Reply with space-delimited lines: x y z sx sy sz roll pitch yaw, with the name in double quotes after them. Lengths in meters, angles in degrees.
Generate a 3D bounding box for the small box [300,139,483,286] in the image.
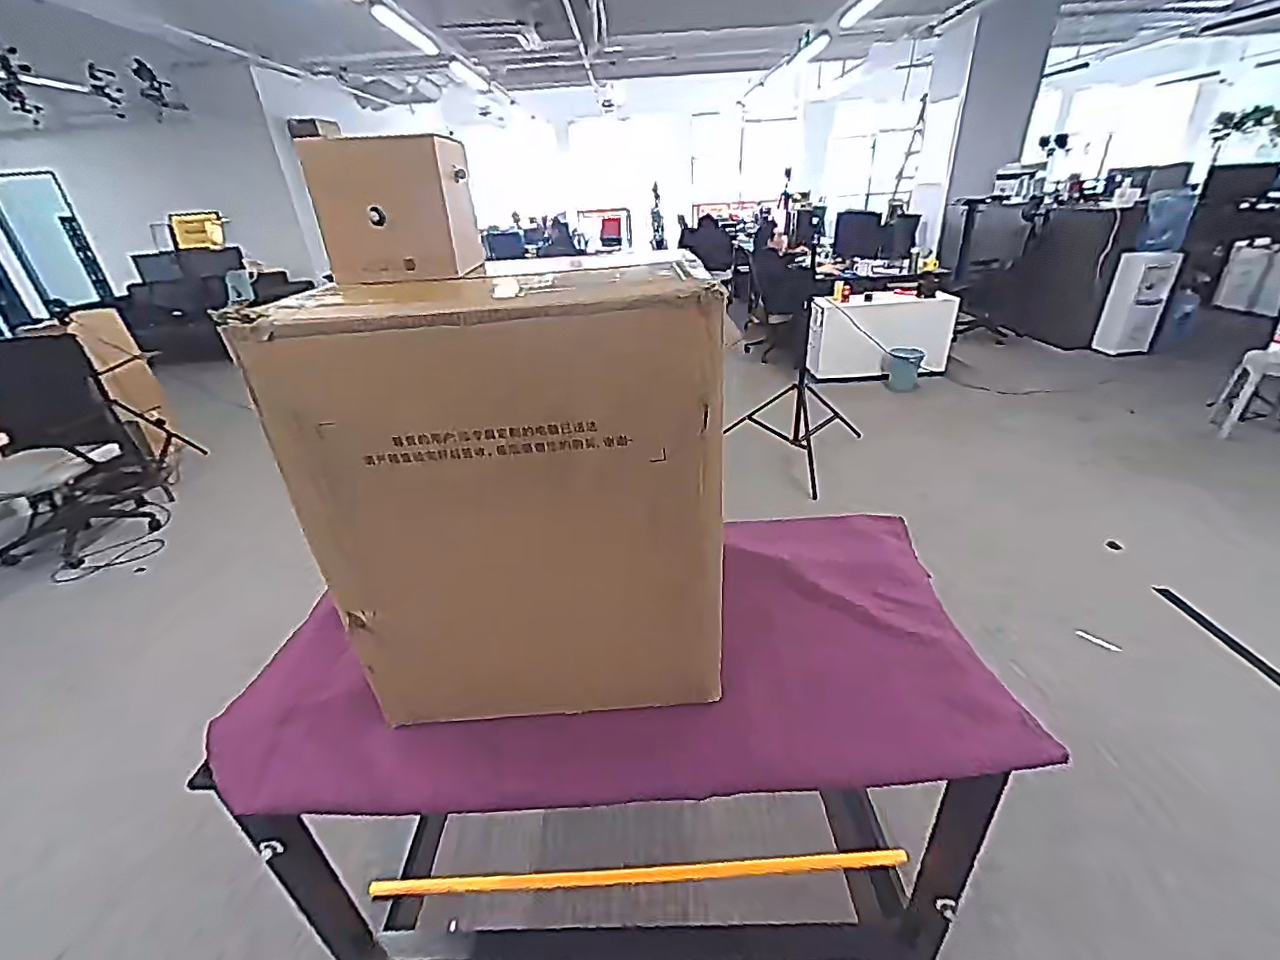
-0.327 -0.369 0.756 0.168 0.176 0.179 -3 28 -2 "small box"
